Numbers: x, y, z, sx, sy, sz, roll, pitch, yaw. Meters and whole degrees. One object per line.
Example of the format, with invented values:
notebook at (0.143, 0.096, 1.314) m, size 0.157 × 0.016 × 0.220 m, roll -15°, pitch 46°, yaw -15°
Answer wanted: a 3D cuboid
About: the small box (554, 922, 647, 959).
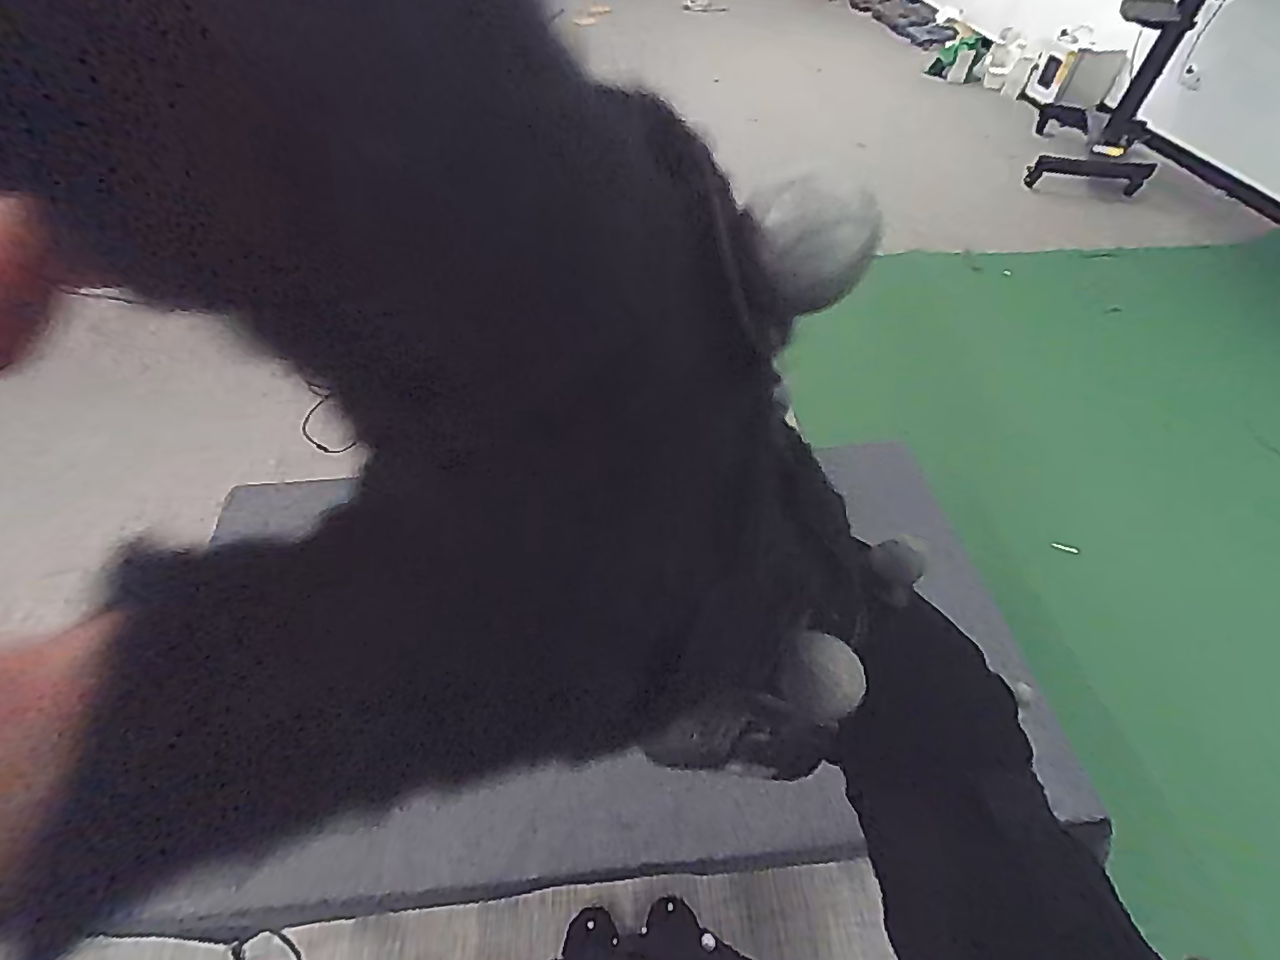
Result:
small box at (-0.081, 0.981, 1.022) m, size 0.179 × 0.176 × 0.168 m, roll 16°, pitch 63°, yaw 34°
